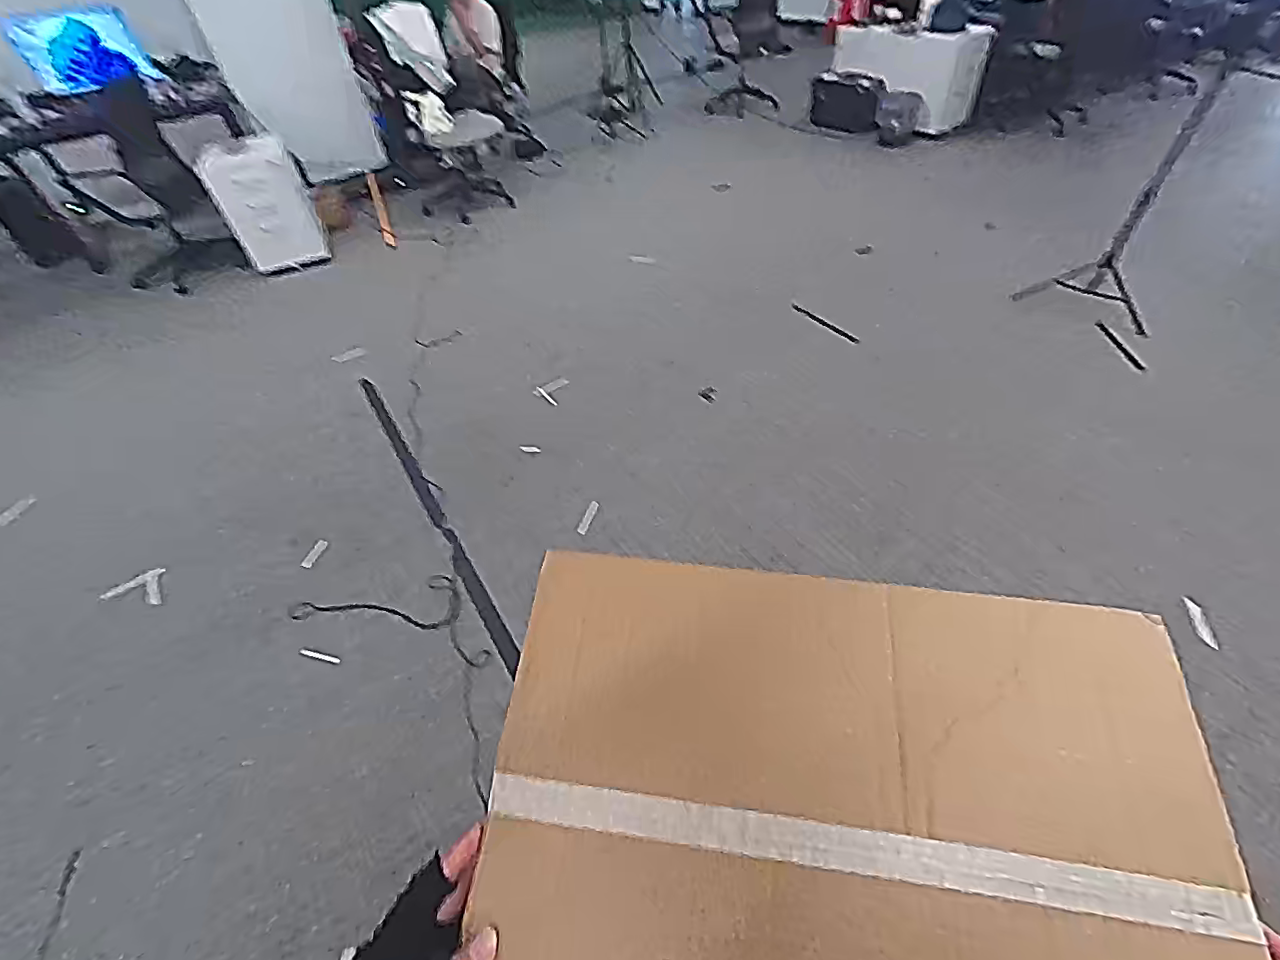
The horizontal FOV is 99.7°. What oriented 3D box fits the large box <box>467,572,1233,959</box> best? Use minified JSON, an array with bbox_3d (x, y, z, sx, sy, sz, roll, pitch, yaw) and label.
[{"bbox_3d":[0.119,0.284,0.442,0.408,0.320,0.320,3,63,8],"label":"large box"}]
